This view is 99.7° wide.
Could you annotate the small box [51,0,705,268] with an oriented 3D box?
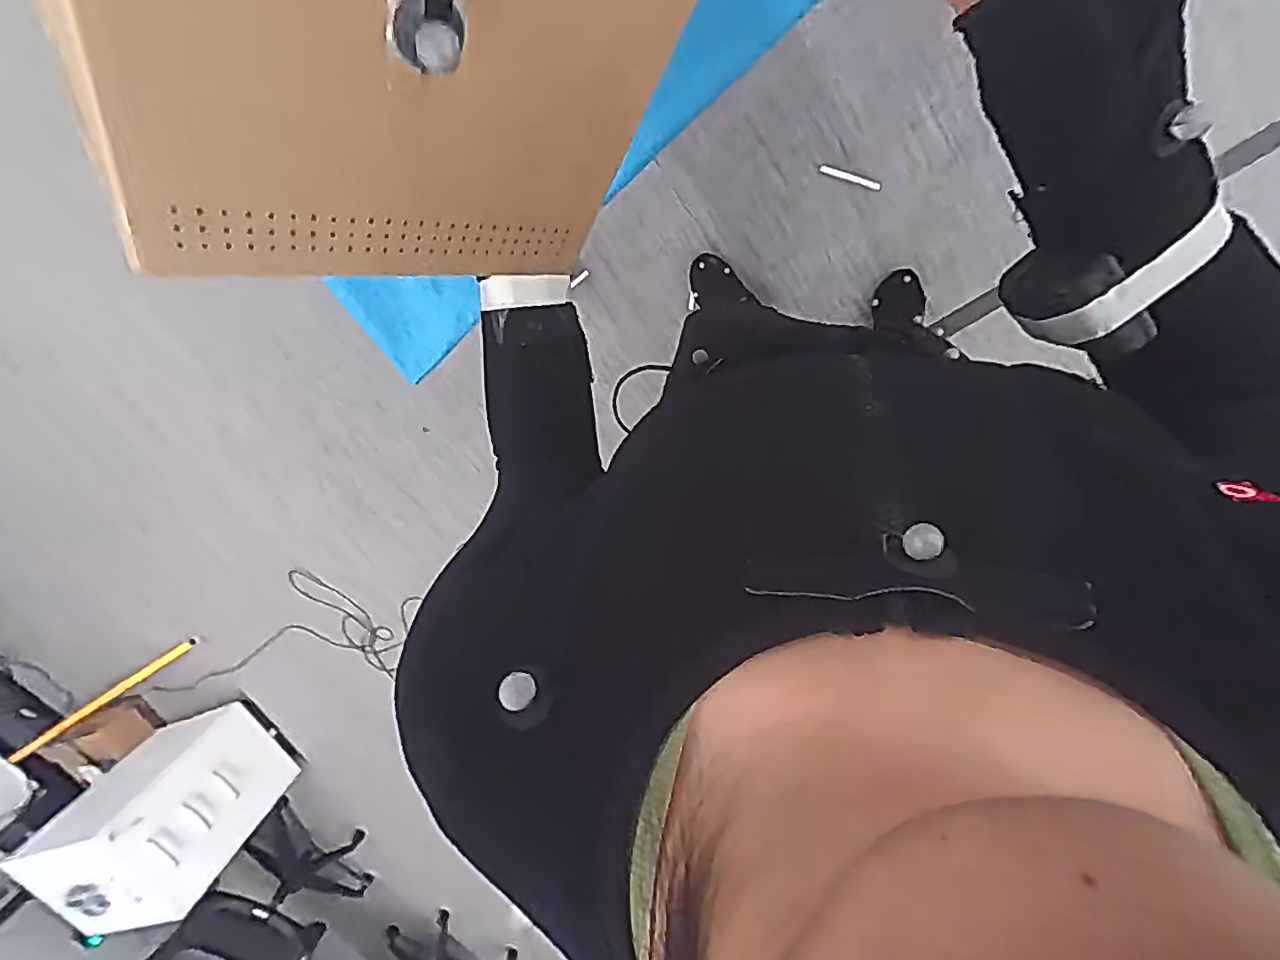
[{"bbox_3d":[-0.100,-0.197,0.194,0.168,0.179,0.176,59,139,14],"label":"small box"}]
